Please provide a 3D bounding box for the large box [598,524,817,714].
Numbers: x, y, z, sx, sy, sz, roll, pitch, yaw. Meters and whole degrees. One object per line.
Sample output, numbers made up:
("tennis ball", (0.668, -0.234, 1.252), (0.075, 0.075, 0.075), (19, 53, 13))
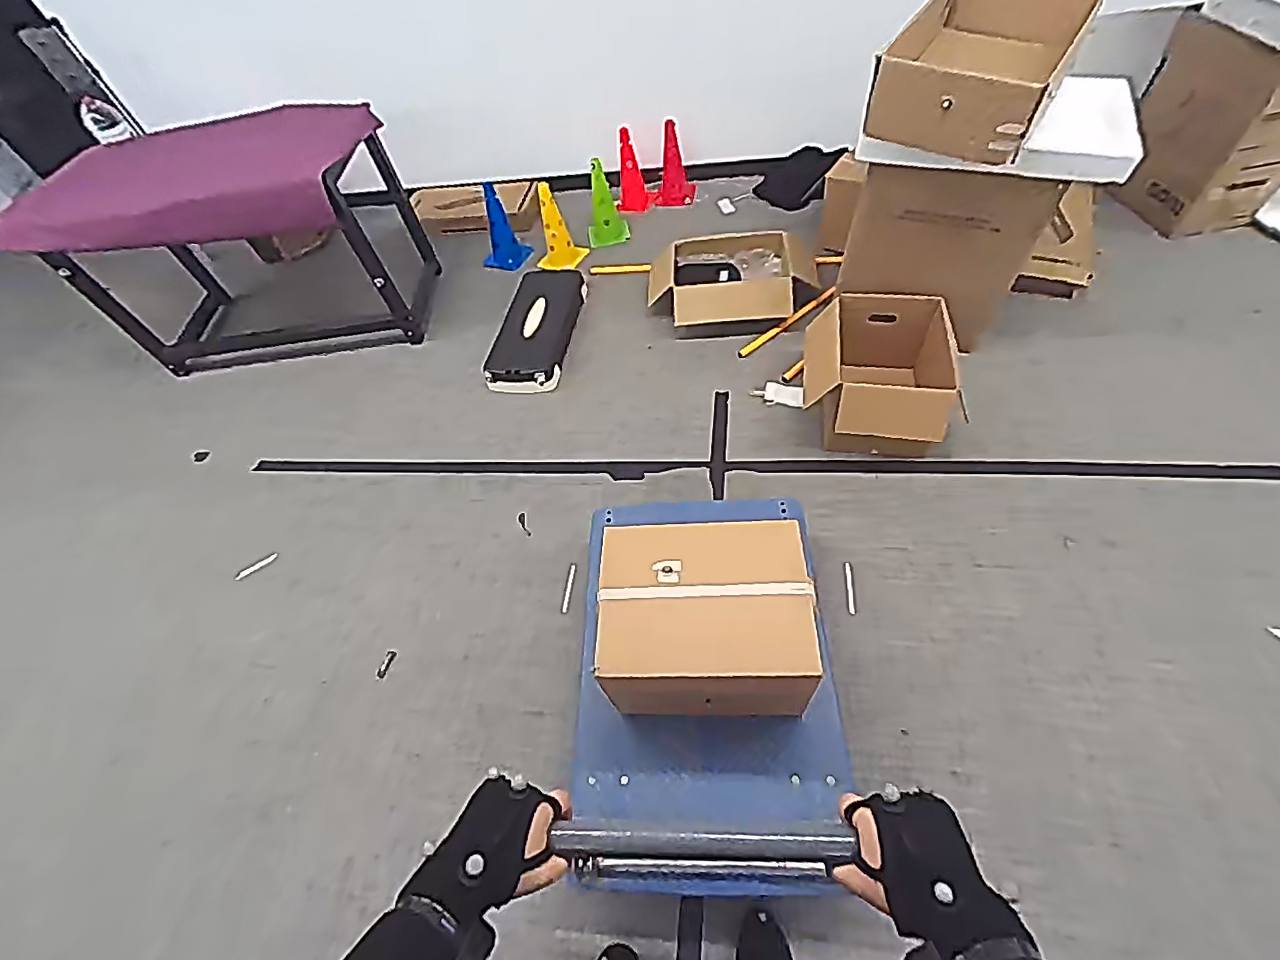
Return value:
("large box", (0.141, 0.316, 1.180), (0.408, 0.320, 0.320), (-4, 54, 7))
